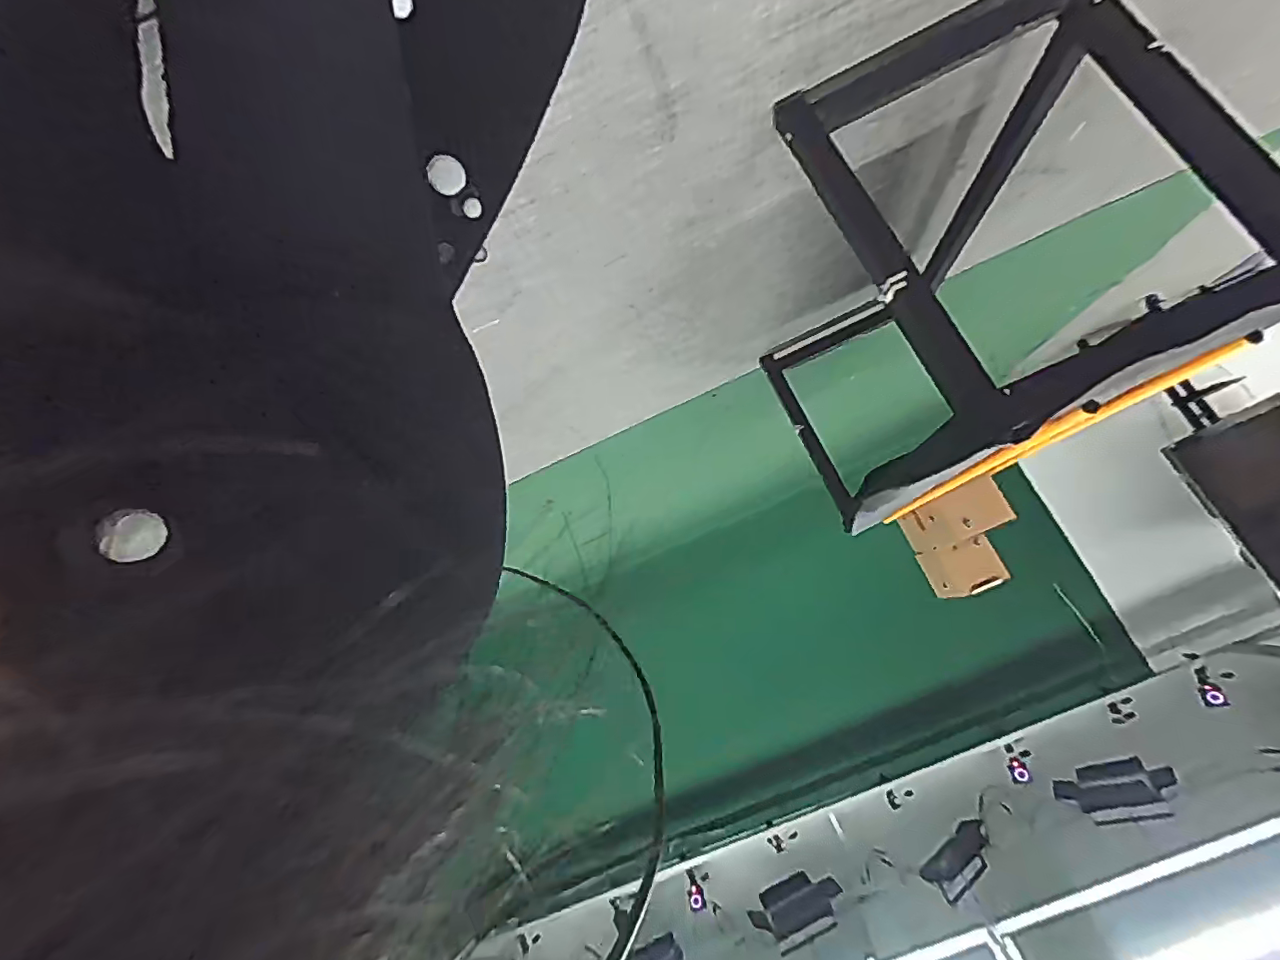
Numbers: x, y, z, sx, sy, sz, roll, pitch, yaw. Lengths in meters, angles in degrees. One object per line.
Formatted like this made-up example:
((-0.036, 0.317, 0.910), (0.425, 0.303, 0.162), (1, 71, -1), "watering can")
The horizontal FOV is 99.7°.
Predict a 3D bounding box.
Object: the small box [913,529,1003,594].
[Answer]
((1.042, 0.266, 1.792), (0.168, 0.176, 0.179), (-22, 165, 0), "small box")

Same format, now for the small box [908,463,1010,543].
((0.941, 0.071, 1.615), (0.179, 0.176, 0.168), (-24, 165, 2), "small box")
